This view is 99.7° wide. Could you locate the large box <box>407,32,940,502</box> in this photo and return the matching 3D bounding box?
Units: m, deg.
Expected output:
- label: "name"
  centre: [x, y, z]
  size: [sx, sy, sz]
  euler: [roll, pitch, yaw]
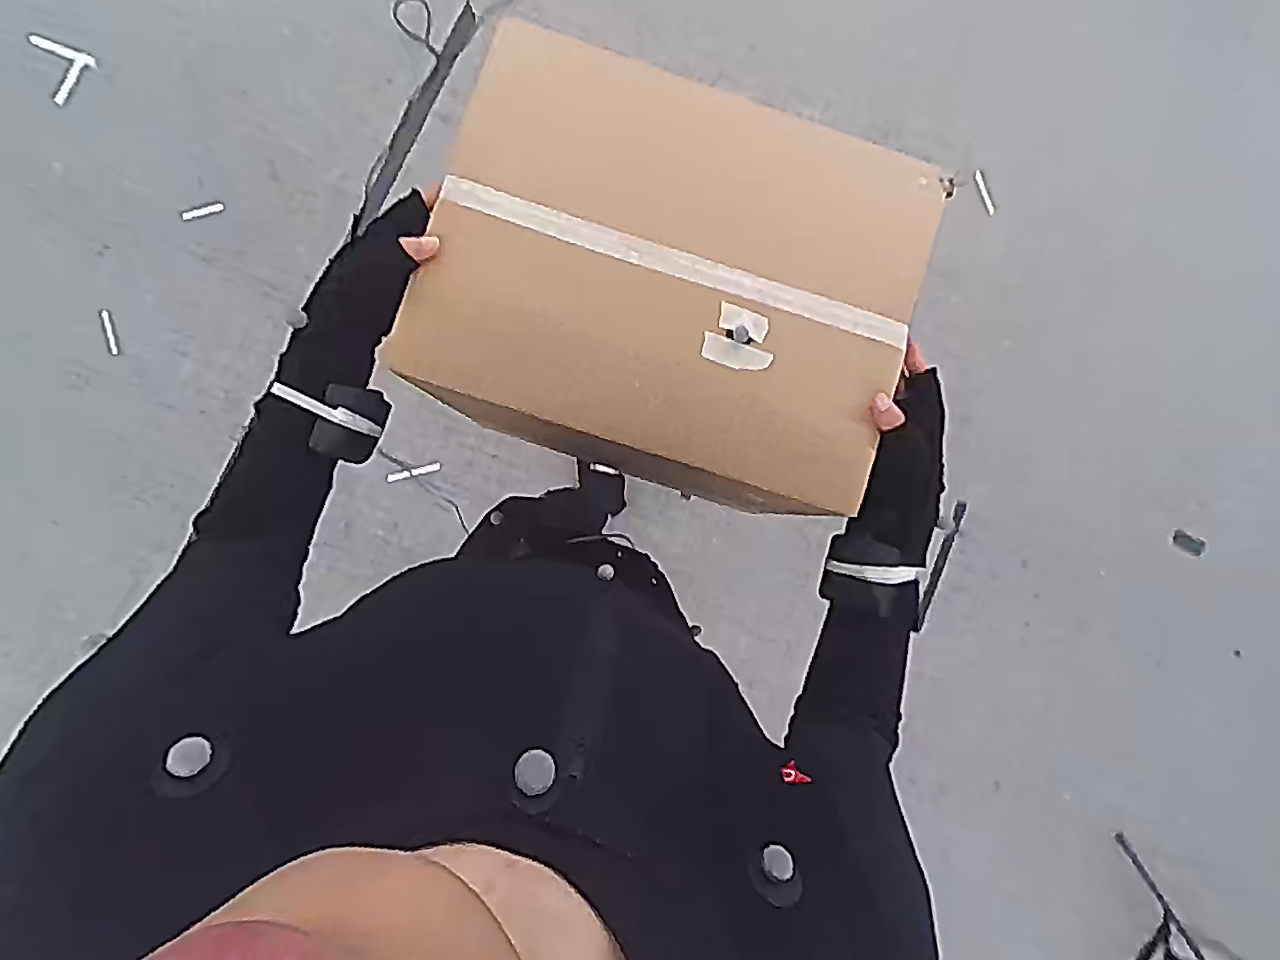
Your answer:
- label: "large box"
  centre: [0.027, -0.178, 0.613]
  size: [0.408, 0.320, 0.320]
  euler: [18, 87, -3]
